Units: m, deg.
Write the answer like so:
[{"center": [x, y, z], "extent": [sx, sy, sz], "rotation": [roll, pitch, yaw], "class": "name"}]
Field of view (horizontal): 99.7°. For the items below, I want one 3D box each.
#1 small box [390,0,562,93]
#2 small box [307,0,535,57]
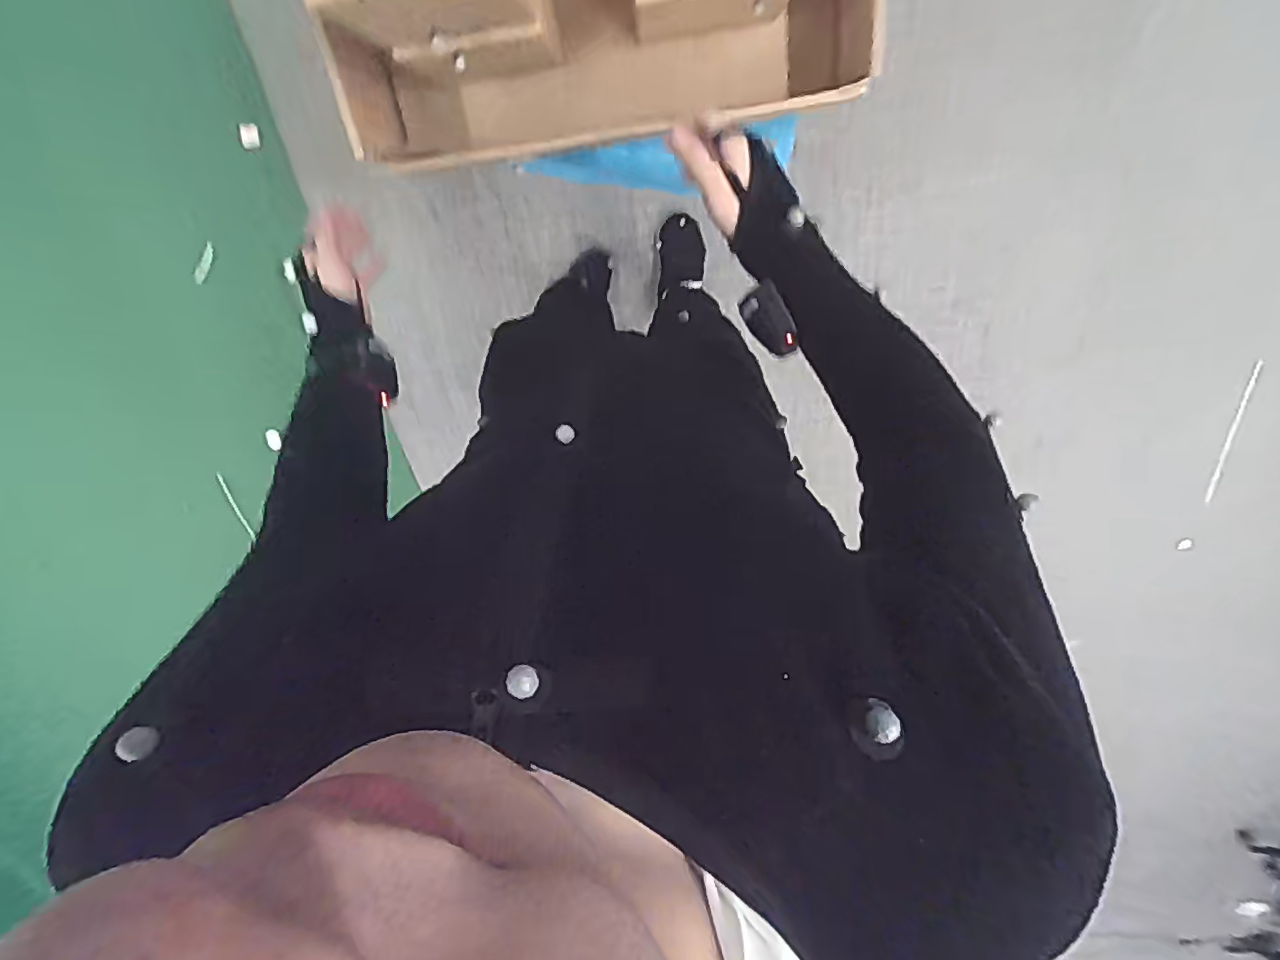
[{"center": [-0.193, -0.571, 0.612], "extent": [0.168, 0.176, 0.179], "rotation": [-6, 116, 5], "class": "small box"}, {"center": [-0.200, -0.502, 0.464], "extent": [0.168, 0.176, 0.179], "rotation": [-7, 117, 5], "class": "small box"}]
